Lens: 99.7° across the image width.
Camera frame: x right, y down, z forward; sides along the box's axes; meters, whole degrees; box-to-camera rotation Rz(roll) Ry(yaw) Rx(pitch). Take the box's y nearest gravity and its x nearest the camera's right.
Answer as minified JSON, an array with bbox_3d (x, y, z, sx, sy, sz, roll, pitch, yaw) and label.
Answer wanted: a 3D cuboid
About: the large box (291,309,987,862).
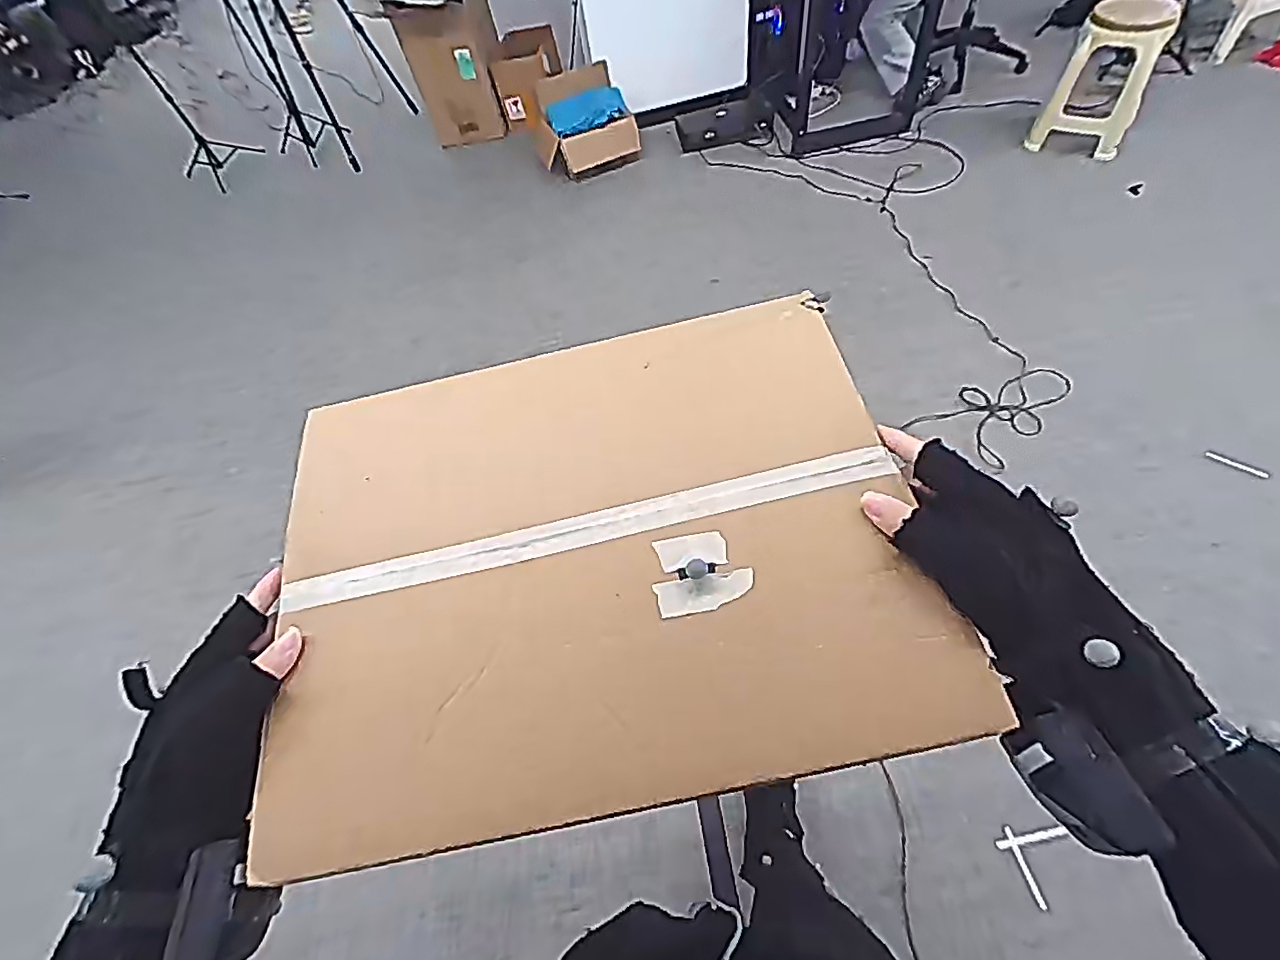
[{"bbox_3d":[-0.013,0.106,0.497,0.408,0.320,0.320,-13,62,1],"label":"large box"}]

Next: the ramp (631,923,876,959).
[{"bbox_3d":[0.252,1.271,0.735,0.509,0.206,0.991,-12,55,3],"label":"ramp"}]
